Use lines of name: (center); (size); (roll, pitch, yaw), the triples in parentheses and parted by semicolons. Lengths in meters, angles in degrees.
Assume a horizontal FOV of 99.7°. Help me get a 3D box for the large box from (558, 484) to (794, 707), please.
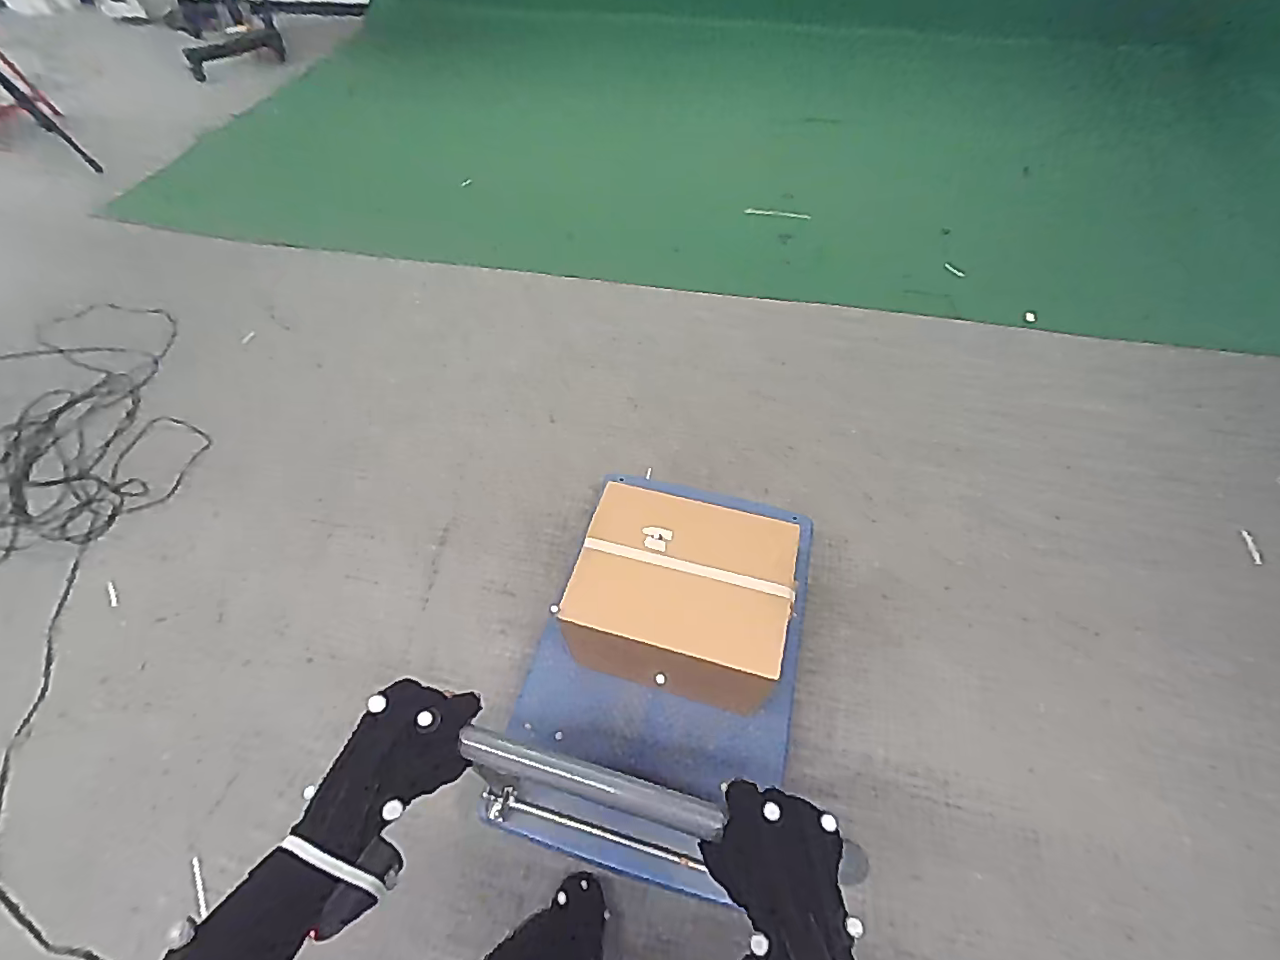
large box: (0.087, 0.252, 1.157); (0.408, 0.320, 0.320); (12, 56, 11)
